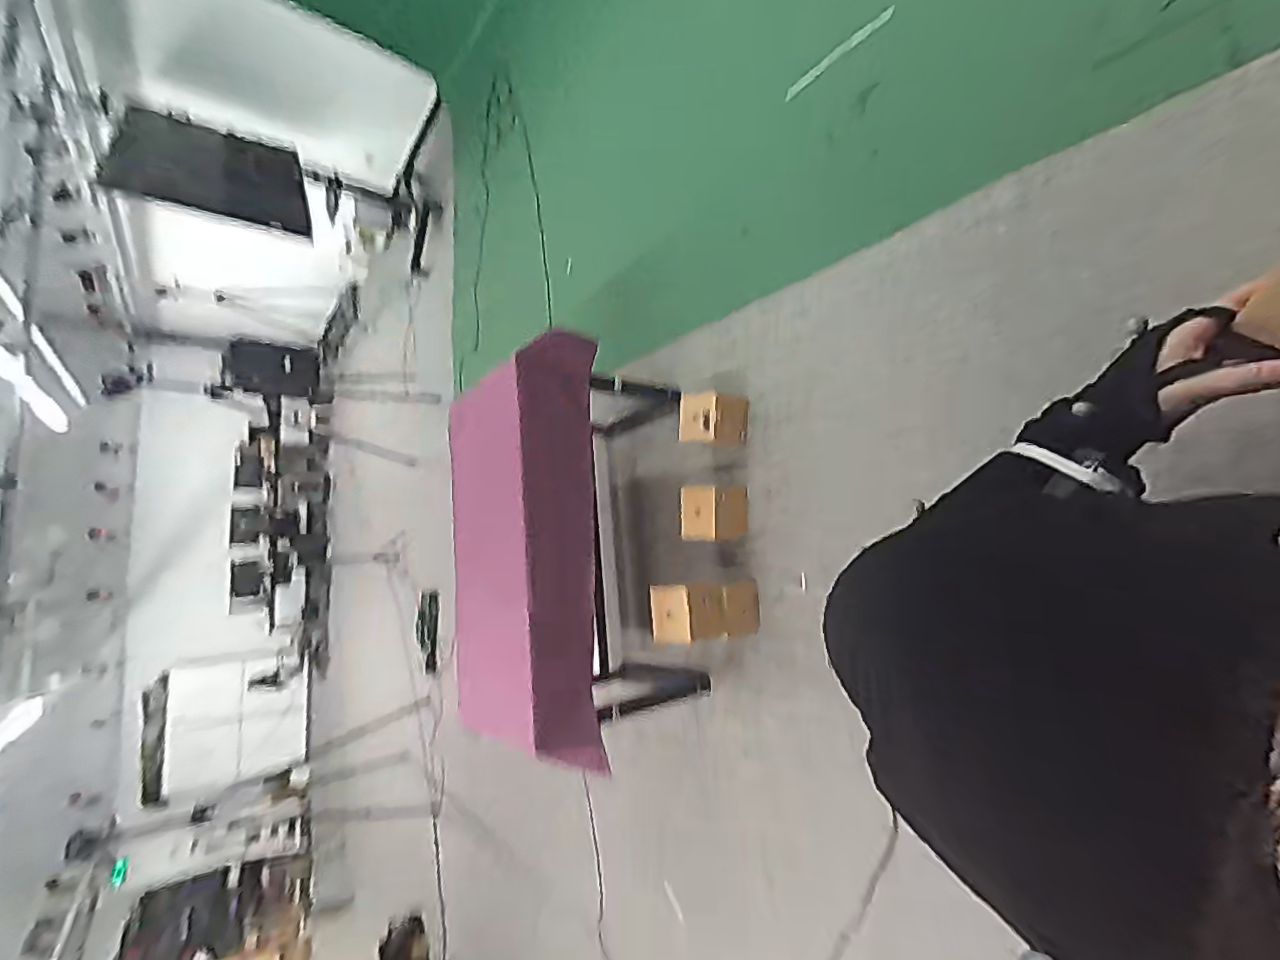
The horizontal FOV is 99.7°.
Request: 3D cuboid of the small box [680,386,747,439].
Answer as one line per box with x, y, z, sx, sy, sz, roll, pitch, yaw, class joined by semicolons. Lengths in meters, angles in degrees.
0.263;-0.237;1.927;0.179;0.176;0.168;3;90;52;small box
